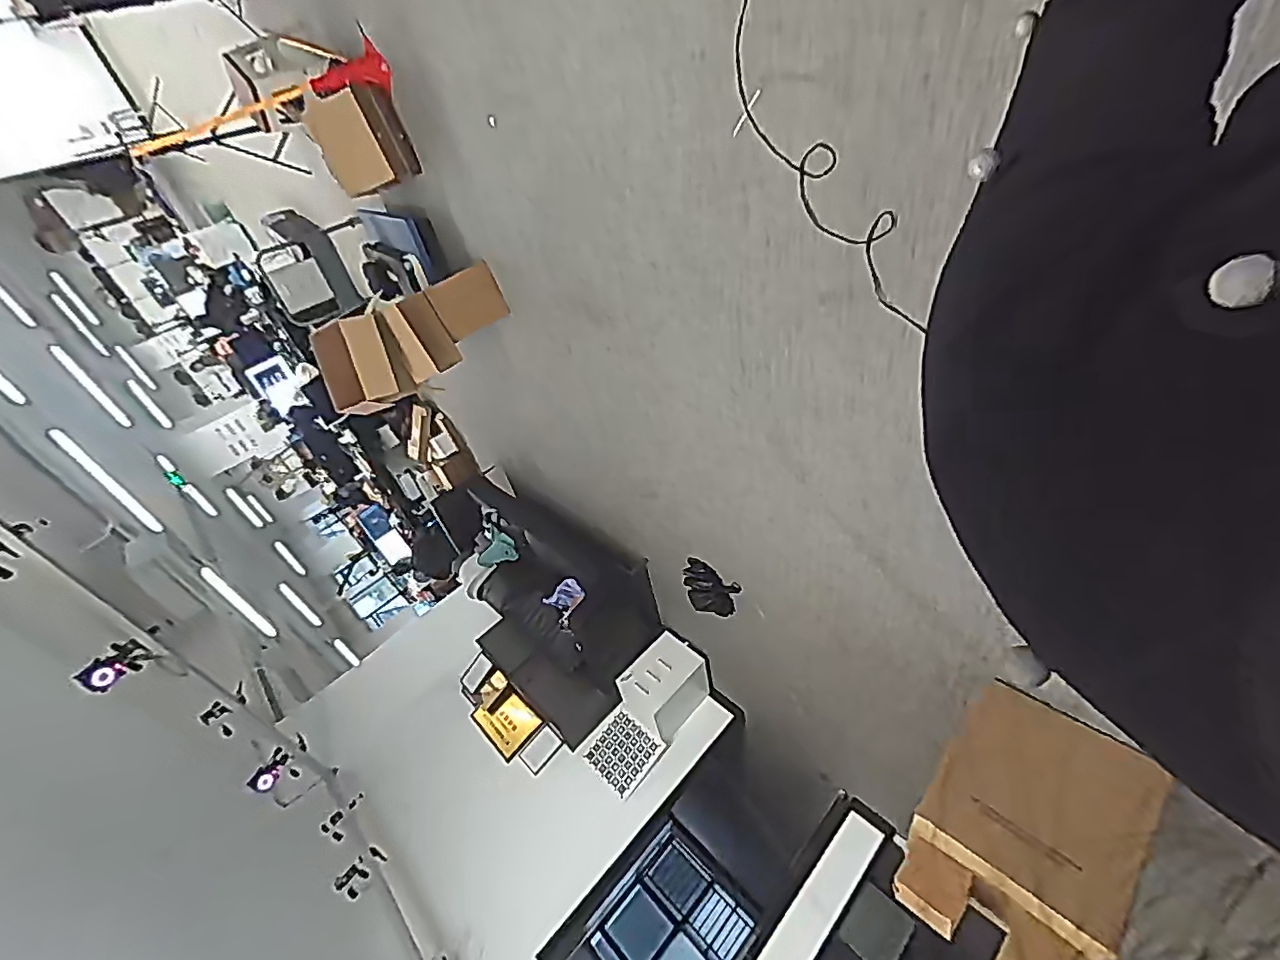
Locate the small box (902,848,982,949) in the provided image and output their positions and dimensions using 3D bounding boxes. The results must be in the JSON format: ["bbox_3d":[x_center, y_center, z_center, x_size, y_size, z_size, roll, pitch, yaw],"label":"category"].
[{"bbox_3d":[0.970,1.332,1.740,0.179,0.176,0.168,18,136,47],"label":"small box"}]

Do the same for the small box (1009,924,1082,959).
[{"bbox_3d":[1.167,1.426,1.536,0.179,0.176,0.168,29,142,39],"label":"small box"}]
